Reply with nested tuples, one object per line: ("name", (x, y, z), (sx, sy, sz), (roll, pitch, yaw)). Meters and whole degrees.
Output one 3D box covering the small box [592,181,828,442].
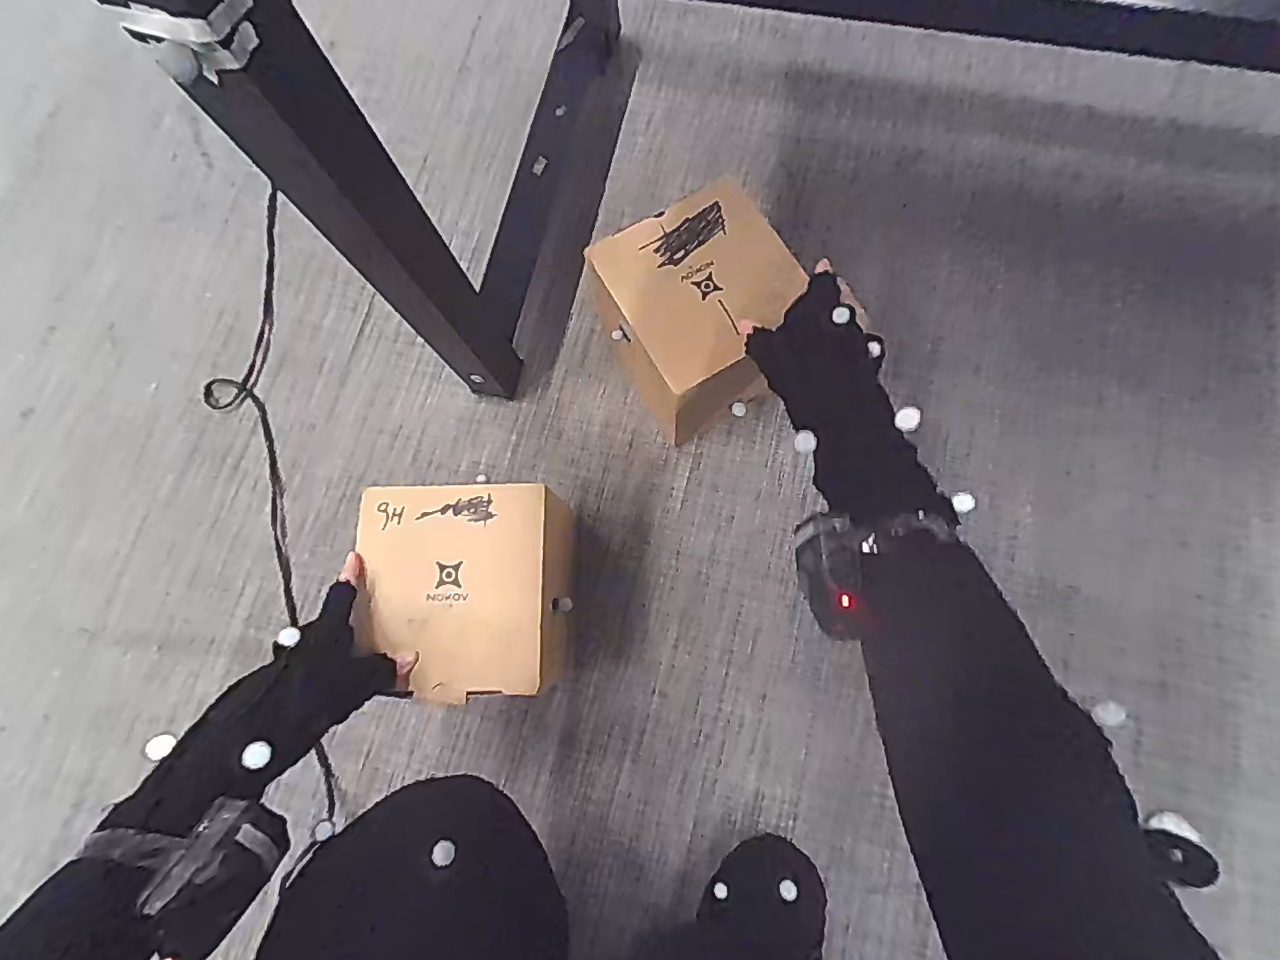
("small box", (0.066, -0.167, 0.584), (0.168, 0.176, 0.179), (-29, 78, -3))
